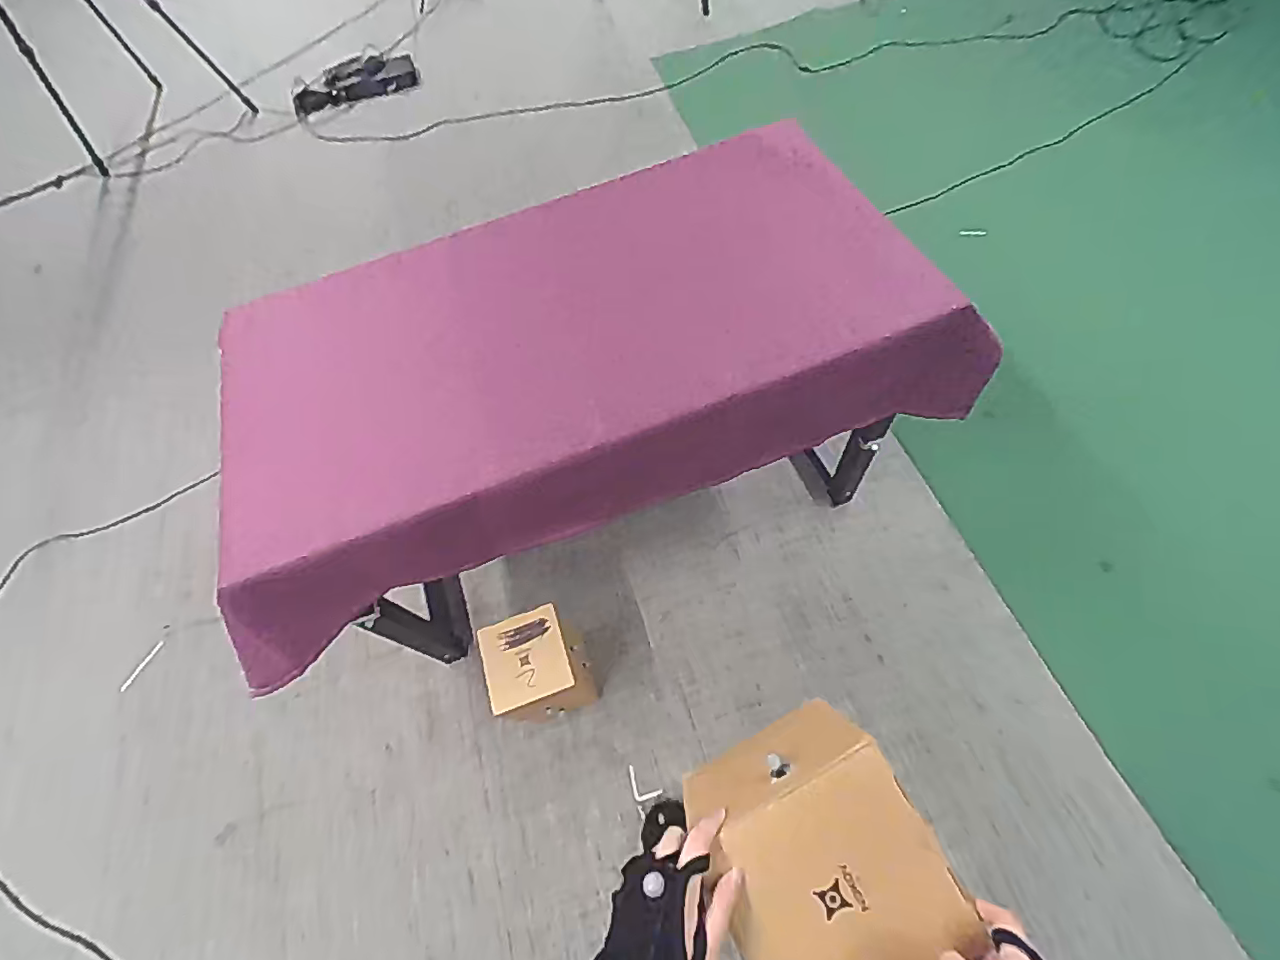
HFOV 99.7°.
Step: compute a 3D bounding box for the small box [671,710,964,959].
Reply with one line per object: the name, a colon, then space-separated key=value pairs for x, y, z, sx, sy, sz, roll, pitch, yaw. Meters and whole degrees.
small box: x=0.143 y=0.344 z=0.506 sx=0.179 sy=0.176 sz=0.168 roll=-29 pitch=78 yaw=-4
